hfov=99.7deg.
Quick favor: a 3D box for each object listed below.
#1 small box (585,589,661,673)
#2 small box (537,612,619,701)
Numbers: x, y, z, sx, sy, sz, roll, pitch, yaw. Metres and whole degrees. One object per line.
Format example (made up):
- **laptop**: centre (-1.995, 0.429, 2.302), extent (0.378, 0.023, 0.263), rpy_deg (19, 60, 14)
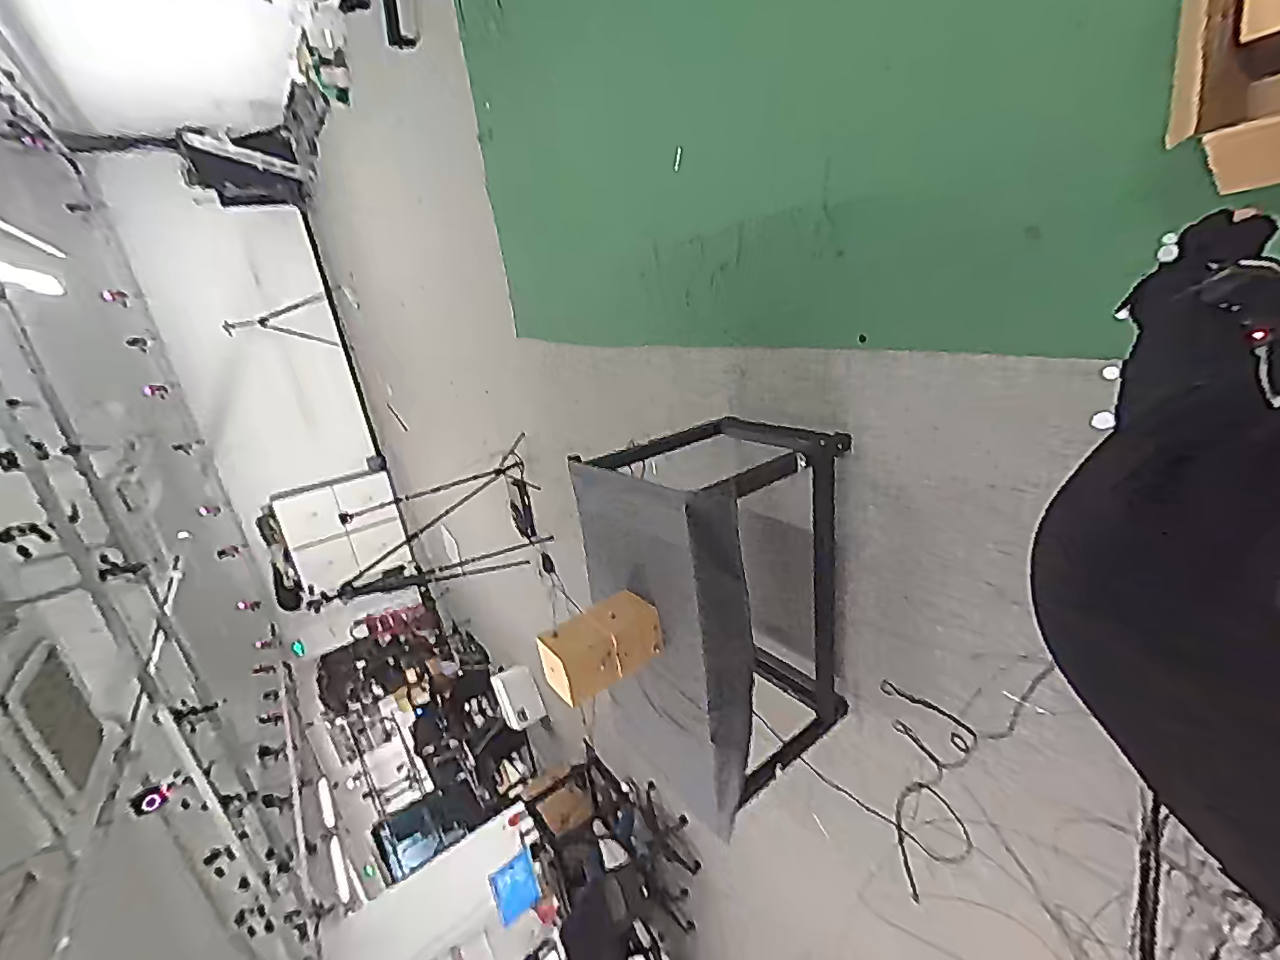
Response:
- **small box**: centre (-0.047, 0.467, 1.706), extent (0.179, 0.176, 0.168), rpy_deg (19, 123, 53)
- **small box**: centre (-0.186, 0.524, 1.637), extent (0.179, 0.176, 0.168), rpy_deg (16, 121, 52)
